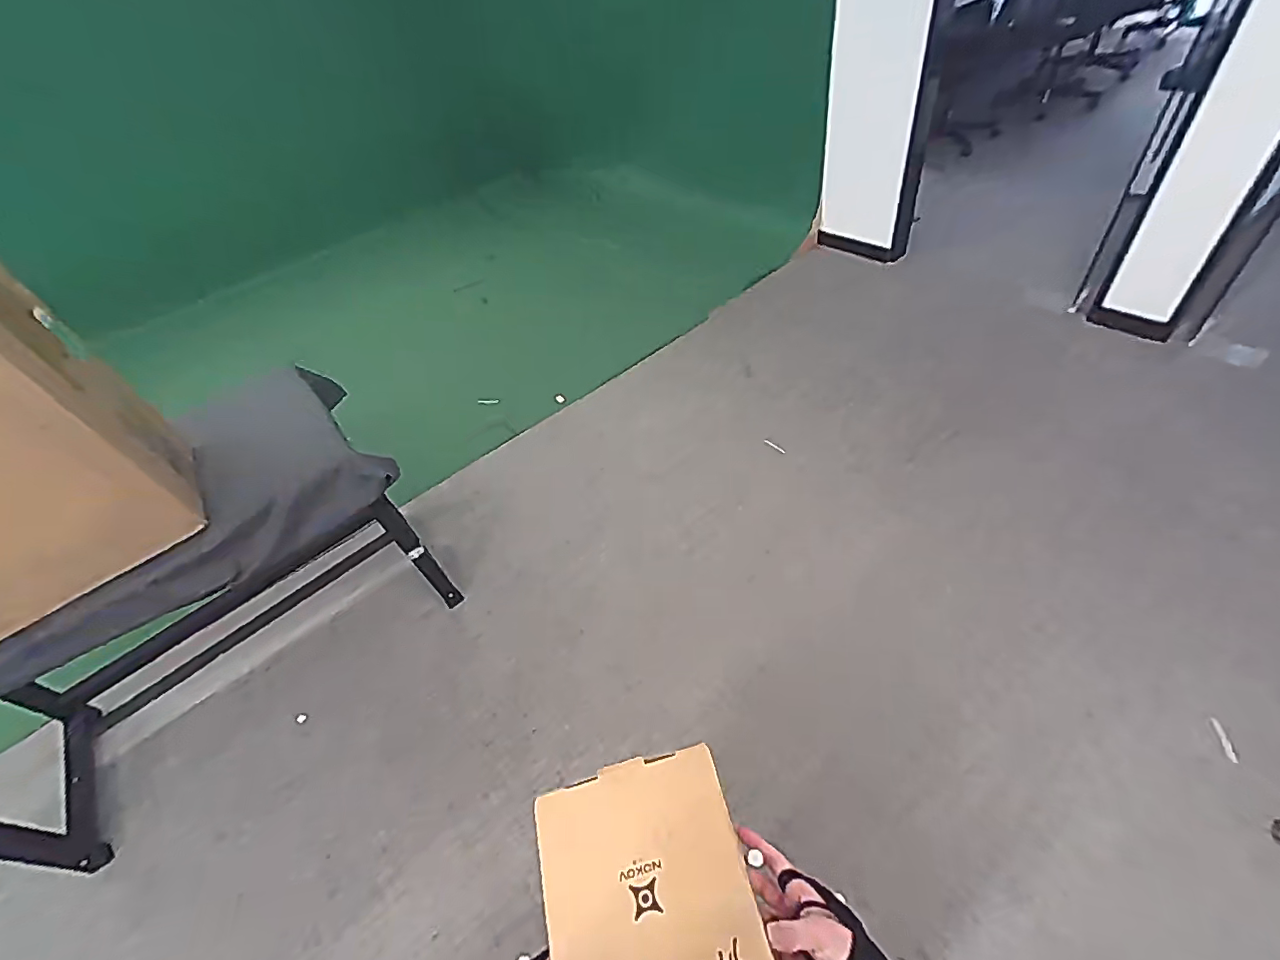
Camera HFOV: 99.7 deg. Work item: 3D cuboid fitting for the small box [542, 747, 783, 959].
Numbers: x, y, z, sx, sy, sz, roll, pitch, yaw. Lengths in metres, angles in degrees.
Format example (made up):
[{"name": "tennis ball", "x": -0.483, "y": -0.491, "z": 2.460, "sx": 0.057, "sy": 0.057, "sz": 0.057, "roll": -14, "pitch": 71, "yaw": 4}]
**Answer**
[{"name": "small box", "x": 0.024, "y": 0.377, "z": 0.491, "sx": 0.168, "sy": 0.176, "sz": 0.179, "roll": -19, "pitch": 50, "yaw": -1}]
